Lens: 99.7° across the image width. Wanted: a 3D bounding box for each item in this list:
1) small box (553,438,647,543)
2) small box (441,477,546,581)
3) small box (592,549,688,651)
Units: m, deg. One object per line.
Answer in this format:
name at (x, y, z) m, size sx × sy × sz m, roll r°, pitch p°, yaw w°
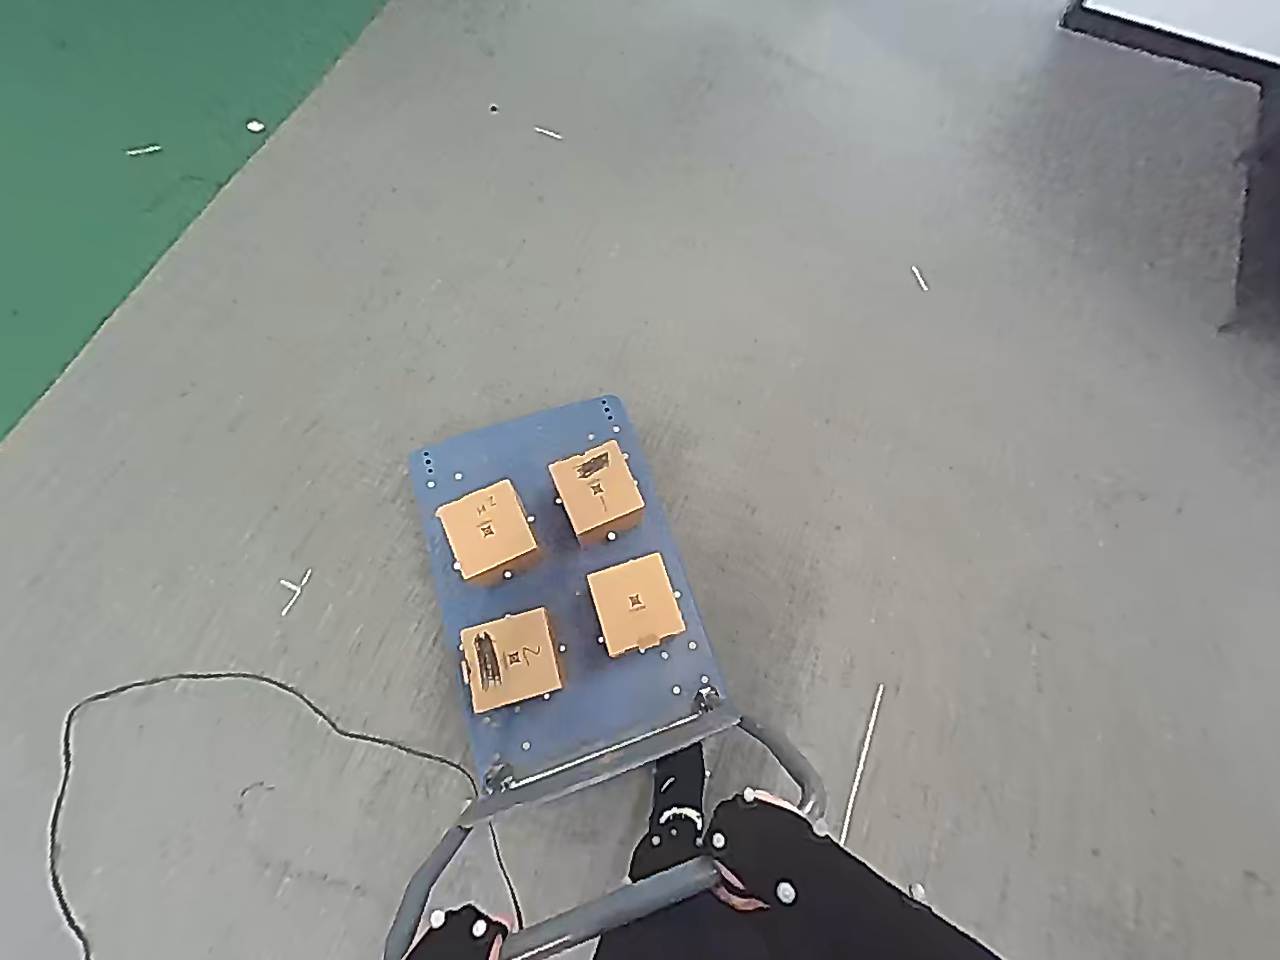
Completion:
small box at (-0.094, 0.030, 1.282) m, size 0.168 × 0.176 × 0.179 m, roll -22°, pitch 75°, yaw -9°
small box at (-0.328, 0.121, 1.243) m, size 0.168 × 0.176 × 0.179 m, roll -24°, pitch 75°, yaw -10°
small box at (-0.006, 0.273, 1.208) m, size 0.168 × 0.176 × 0.179 m, roll -17°, pitch 74°, yaw -7°
